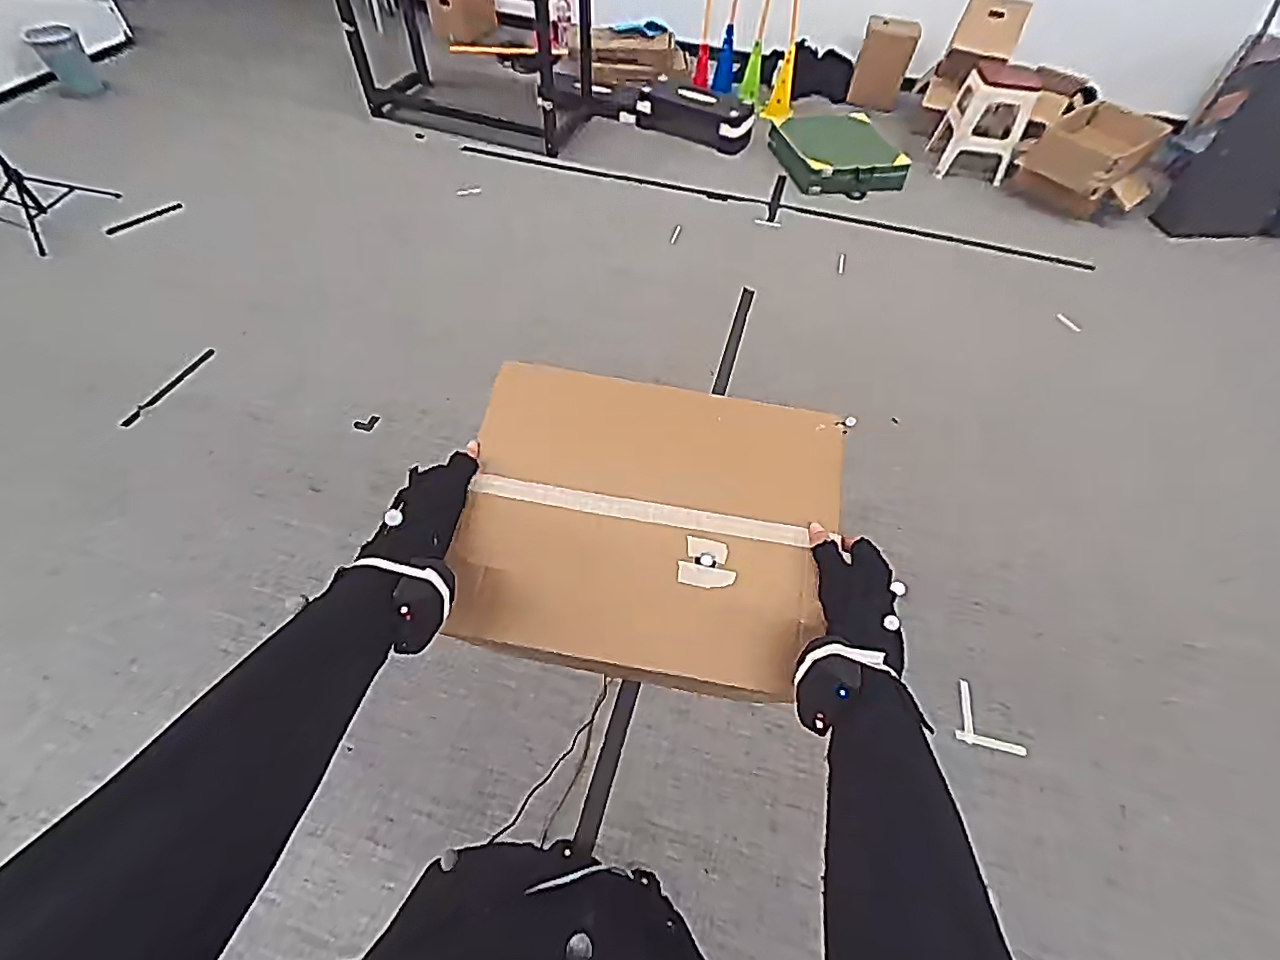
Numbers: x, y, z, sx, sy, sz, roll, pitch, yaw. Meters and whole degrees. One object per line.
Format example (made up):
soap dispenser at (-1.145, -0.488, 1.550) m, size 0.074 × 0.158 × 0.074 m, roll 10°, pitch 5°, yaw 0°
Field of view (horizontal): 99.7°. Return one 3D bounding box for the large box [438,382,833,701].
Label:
large box at (0.004, 0.104, 0.733) m, size 0.408 × 0.320 × 0.320 m, roll 10°, pitch 69°, yaw 1°
